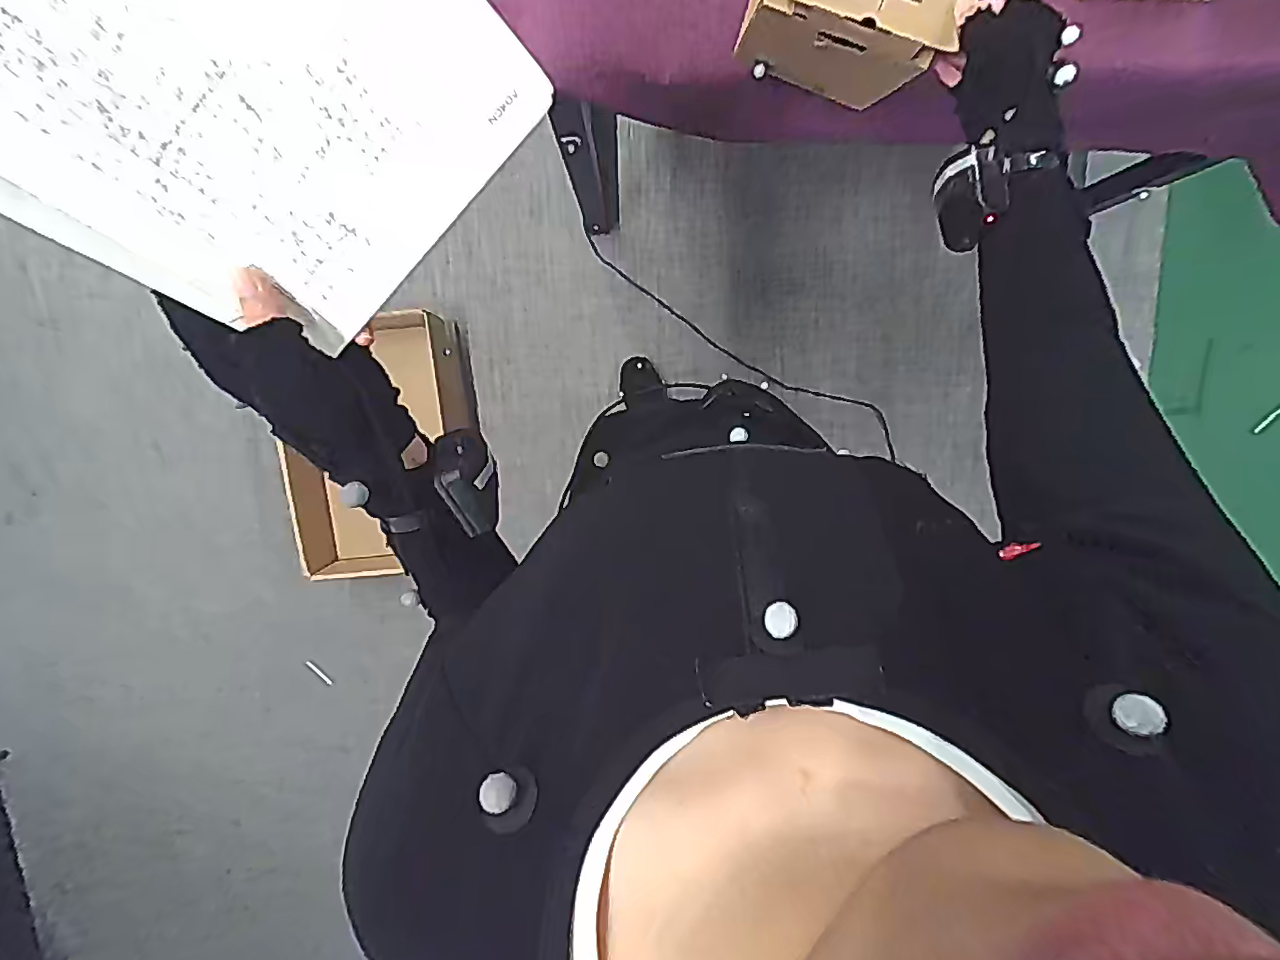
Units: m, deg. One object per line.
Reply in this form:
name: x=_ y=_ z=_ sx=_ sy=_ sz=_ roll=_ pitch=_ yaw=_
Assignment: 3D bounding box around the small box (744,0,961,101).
small box: x=0.210 y=-0.497 z=0.511 sx=0.168 sy=0.176 sz=0.179 roll=16 pitch=112 yaw=-7
